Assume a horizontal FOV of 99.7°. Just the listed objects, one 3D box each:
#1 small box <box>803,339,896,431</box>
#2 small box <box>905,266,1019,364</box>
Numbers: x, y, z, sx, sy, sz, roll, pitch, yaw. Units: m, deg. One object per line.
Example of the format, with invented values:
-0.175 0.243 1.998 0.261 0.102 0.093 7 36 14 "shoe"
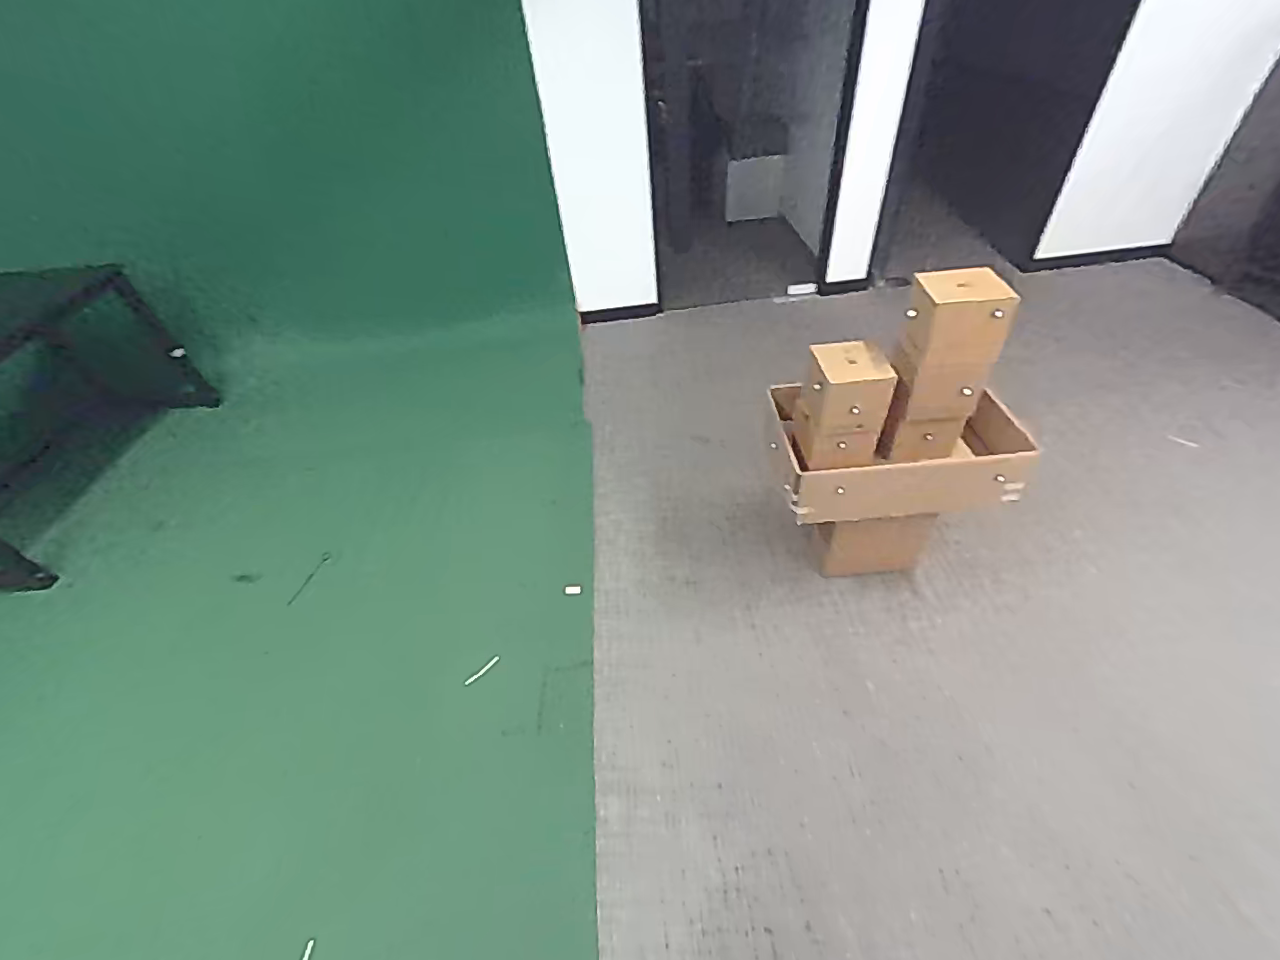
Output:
0.532 -0.240 1.398 0.168 0.176 0.179 -5 45 1 "small box"
0.756 -0.392 1.296 0.179 0.176 0.168 -3 44 6 "small box"
